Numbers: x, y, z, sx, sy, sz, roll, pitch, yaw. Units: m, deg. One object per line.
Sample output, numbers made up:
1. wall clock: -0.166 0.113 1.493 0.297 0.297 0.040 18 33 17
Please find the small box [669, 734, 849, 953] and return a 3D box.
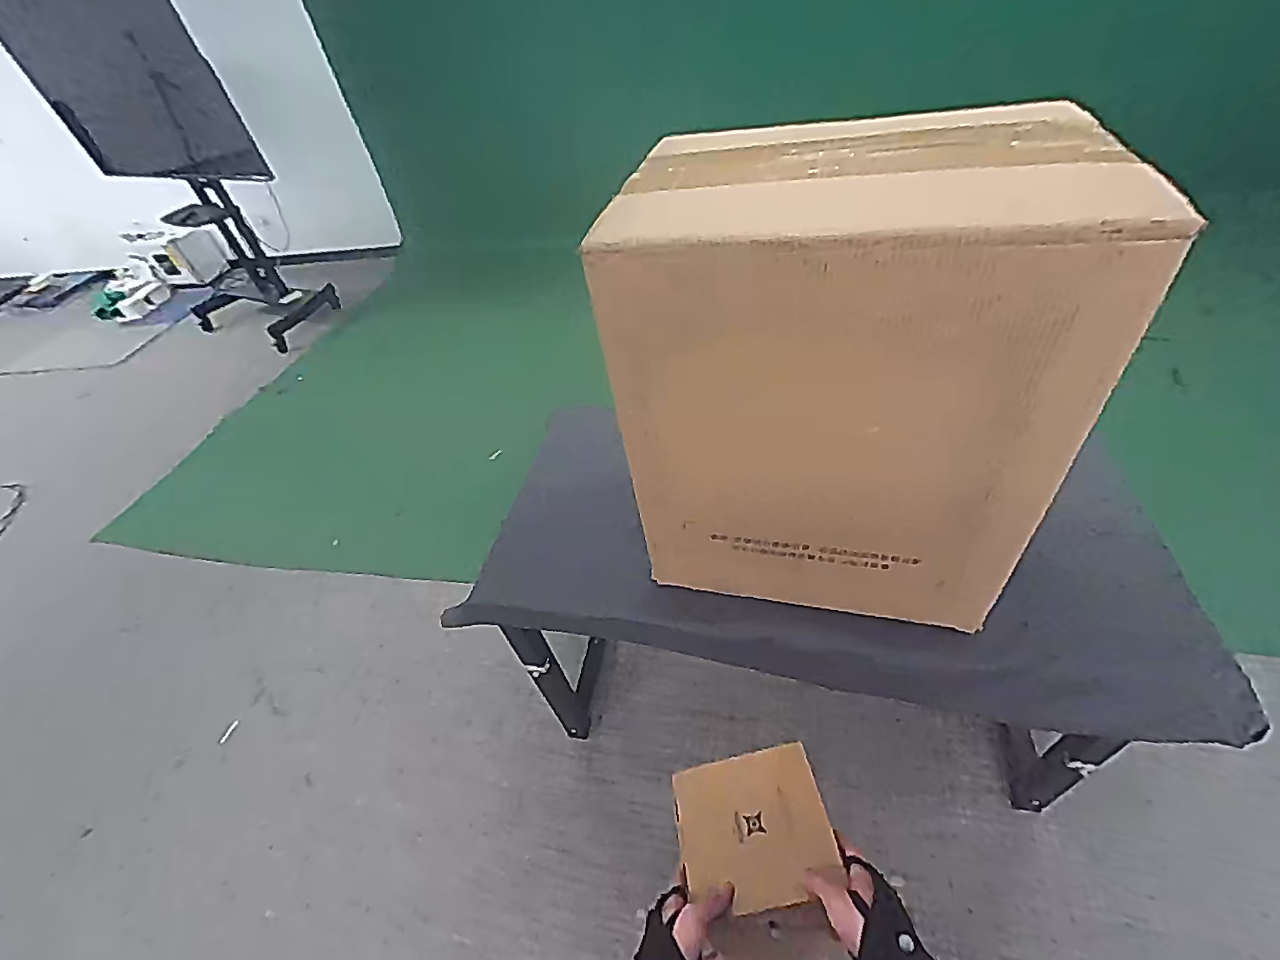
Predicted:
1. small box: 0.147 0.458 0.682 0.179 0.176 0.168 -15 34 3
